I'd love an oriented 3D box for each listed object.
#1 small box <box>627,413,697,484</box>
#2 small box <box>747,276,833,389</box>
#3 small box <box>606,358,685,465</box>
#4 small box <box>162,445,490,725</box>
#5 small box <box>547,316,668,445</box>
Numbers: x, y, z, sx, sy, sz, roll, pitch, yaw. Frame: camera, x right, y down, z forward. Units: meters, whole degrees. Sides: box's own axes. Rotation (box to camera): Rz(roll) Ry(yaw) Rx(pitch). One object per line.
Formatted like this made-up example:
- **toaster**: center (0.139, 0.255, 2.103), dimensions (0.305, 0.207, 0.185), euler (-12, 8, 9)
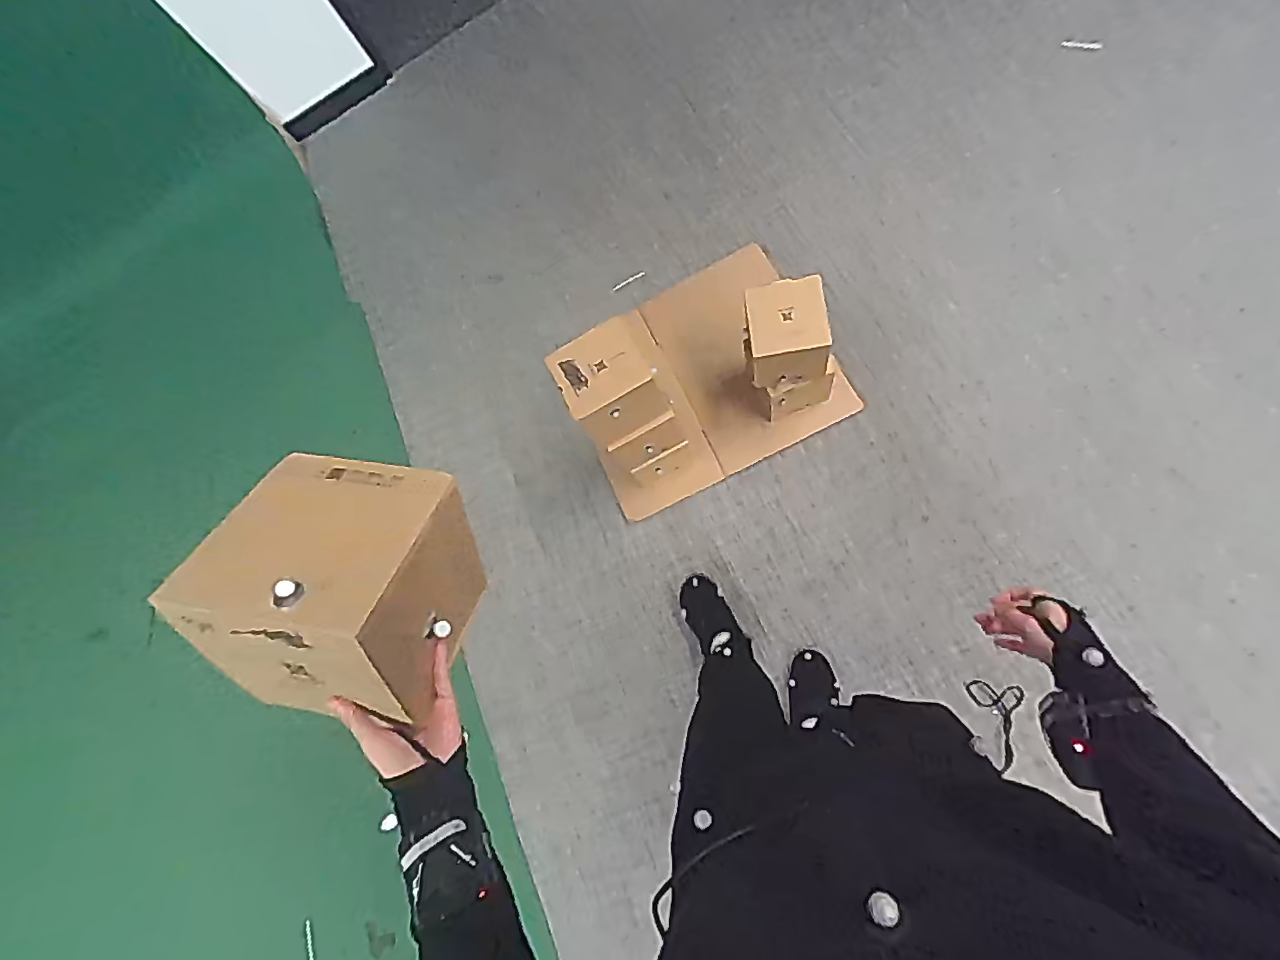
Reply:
- **small box**: center (0.035, -0.104, 1.429), dimensions (0.168, 0.176, 0.179), euler (-28, 69, 6)
- **small box**: center (0.335, -0.330, 1.234), dimensions (0.168, 0.176, 0.179), euler (-7, 74, 12)
- **small box**: center (-0.009, -0.150, 1.277), dimensions (0.168, 0.176, 0.179), euler (-28, 70, 5)
- **small box**: center (-0.254, 0.094, 0.497), dimensions (0.168, 0.179, 0.176), euler (8, 45, 7)
- **small box**: center (-0.062, -0.197, 1.127), dimensions (0.179, 0.176, 0.168), euler (-29, 70, 5)
